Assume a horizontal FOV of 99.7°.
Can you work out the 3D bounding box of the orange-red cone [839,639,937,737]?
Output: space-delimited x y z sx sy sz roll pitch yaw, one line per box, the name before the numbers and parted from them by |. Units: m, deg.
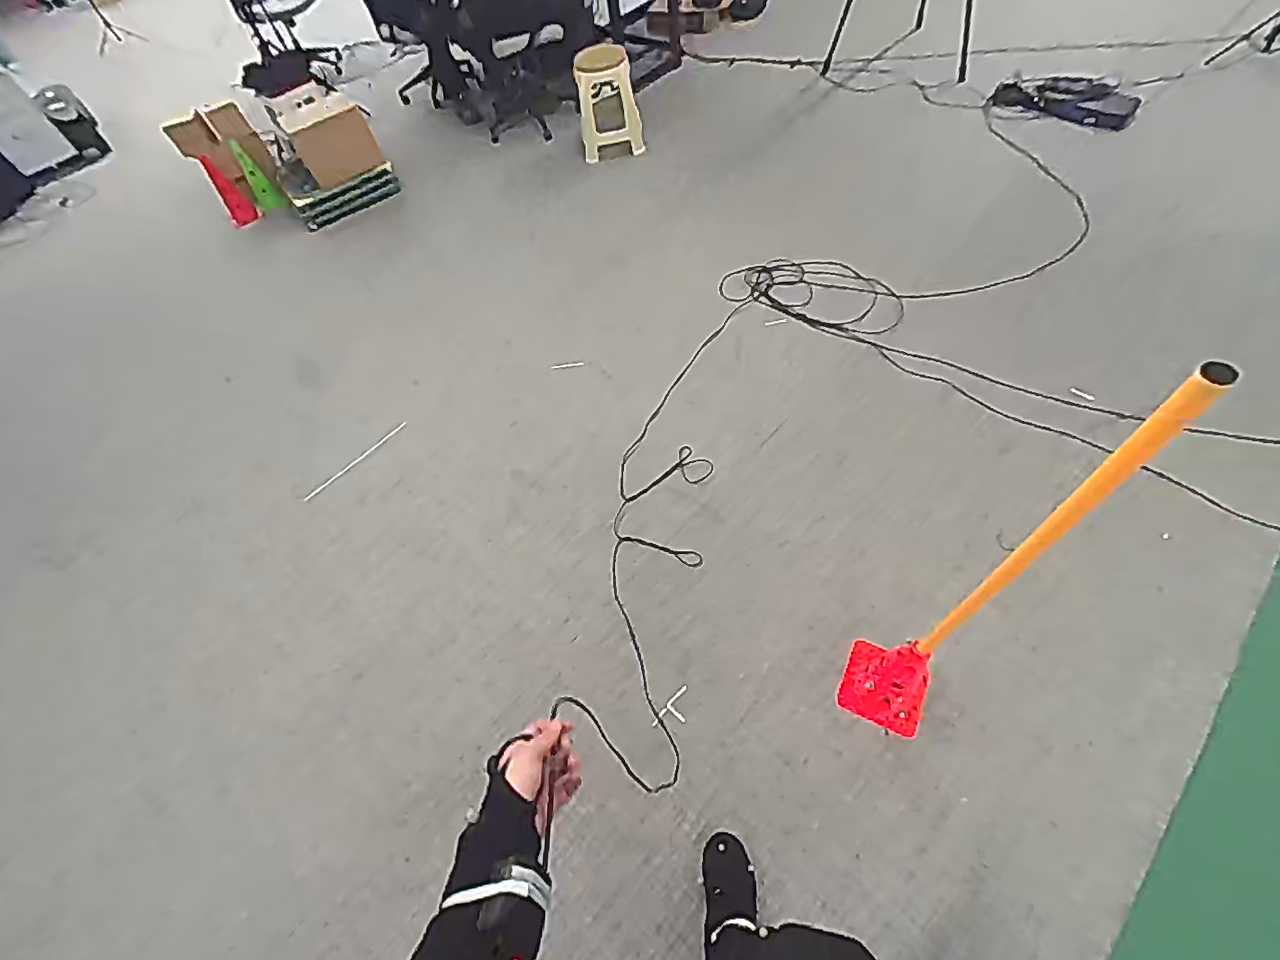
orange-red cone | 0.624 0.449 1.284 0.198 0.360 0.199 22 61 21
